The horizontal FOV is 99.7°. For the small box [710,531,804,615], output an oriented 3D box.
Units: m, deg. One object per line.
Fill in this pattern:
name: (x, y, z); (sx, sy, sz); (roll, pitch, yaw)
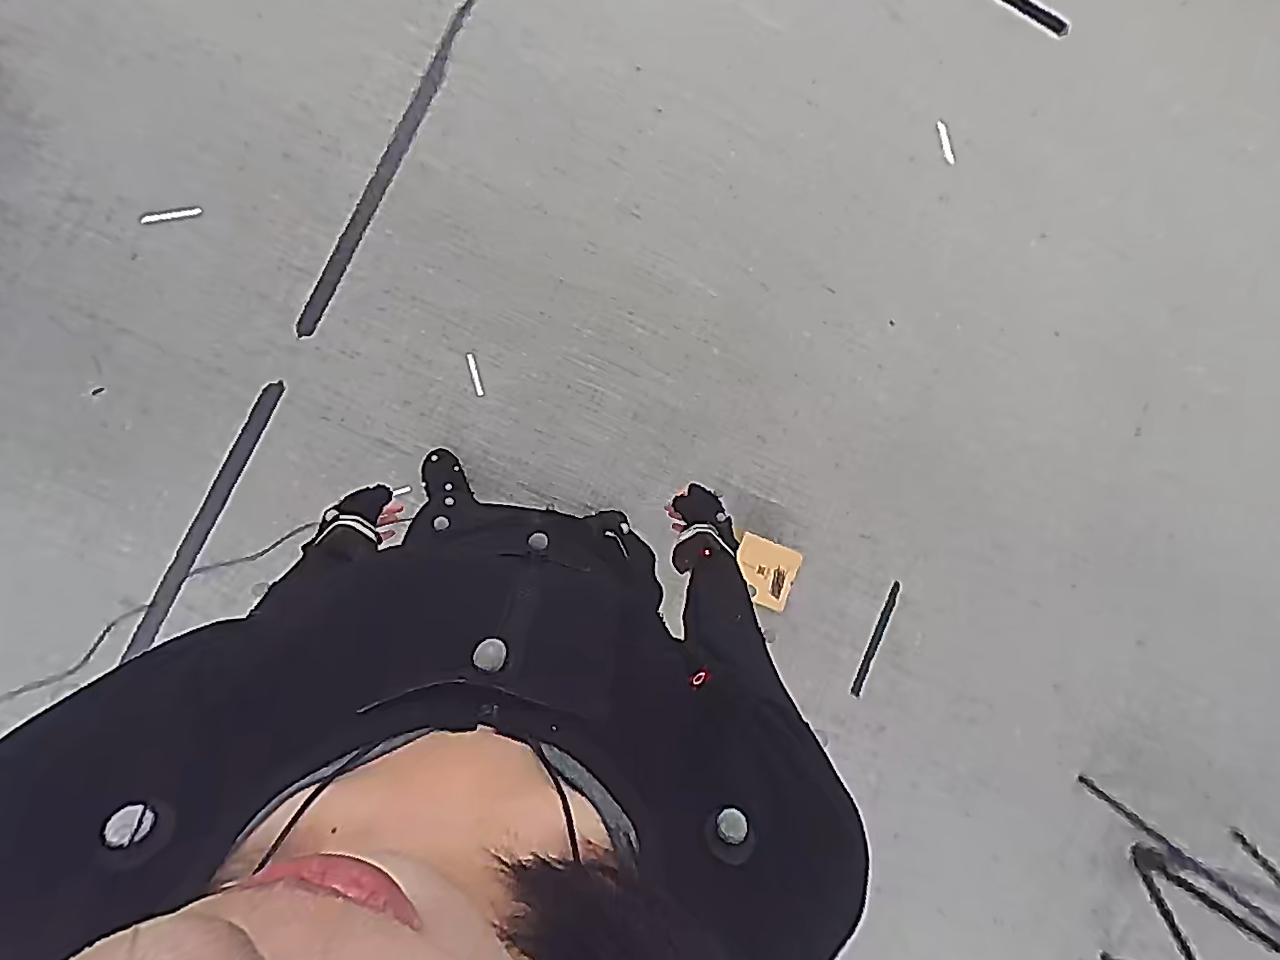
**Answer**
small box: (0.315, 0.248, 1.488); (0.179, 0.176, 0.168); (23, 87, -5)
